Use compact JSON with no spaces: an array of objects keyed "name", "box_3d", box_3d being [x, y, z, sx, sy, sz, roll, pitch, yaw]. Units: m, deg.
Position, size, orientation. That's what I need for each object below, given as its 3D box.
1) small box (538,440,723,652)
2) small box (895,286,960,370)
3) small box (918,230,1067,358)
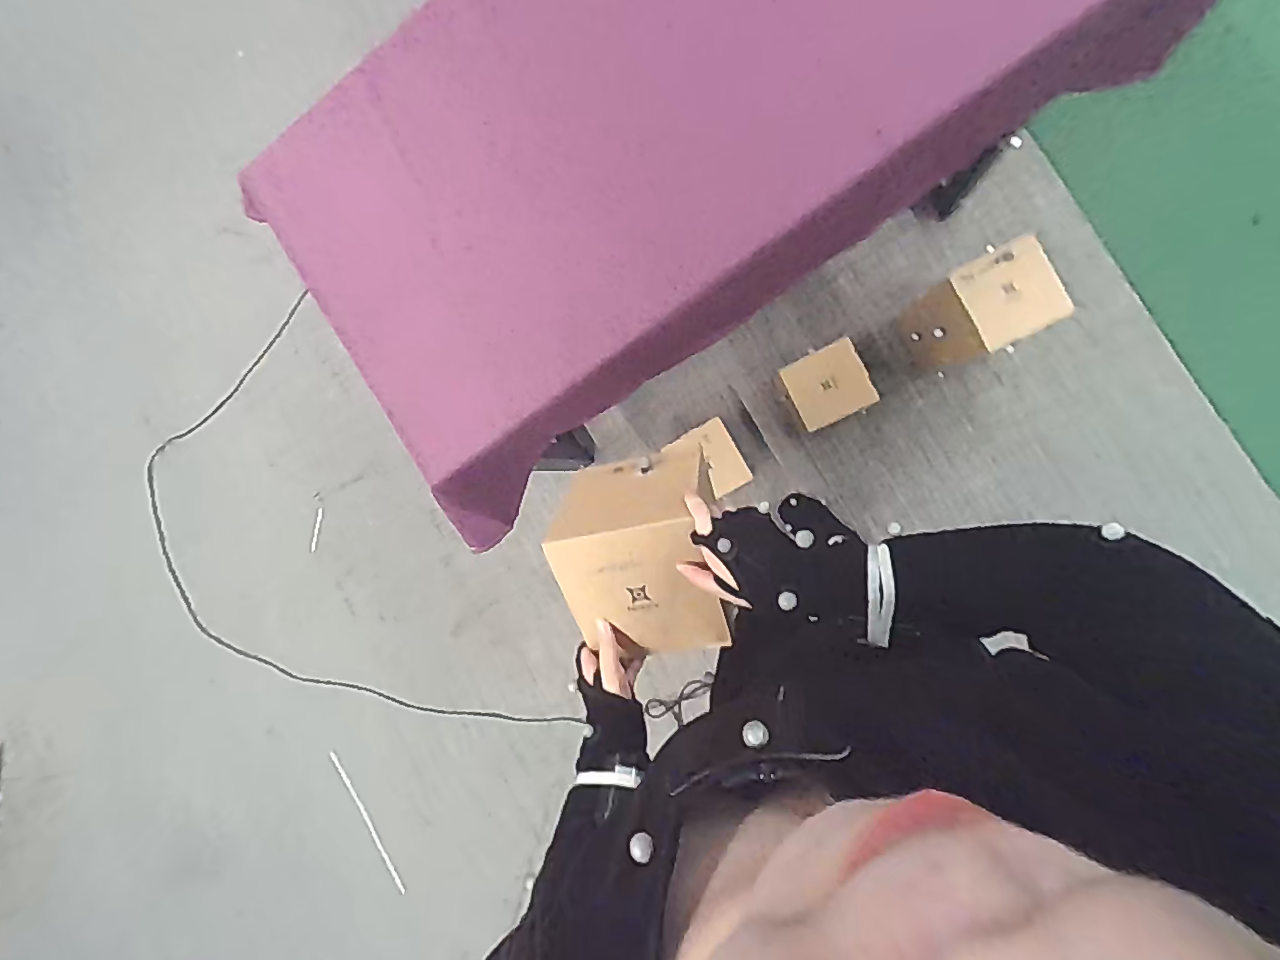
[{"name":"small box","box_3d":[0.004,0.076,0.642,0.168,0.176,0.179,-10,118,14]},{"name":"small box","box_3d":[0.727,-0.371,1.265,0.168,0.176,0.179,-22,86,10]},{"name":"small box","box_3d":[0.704,-0.364,1.102,0.168,0.176,0.179,-26,87,10]}]
